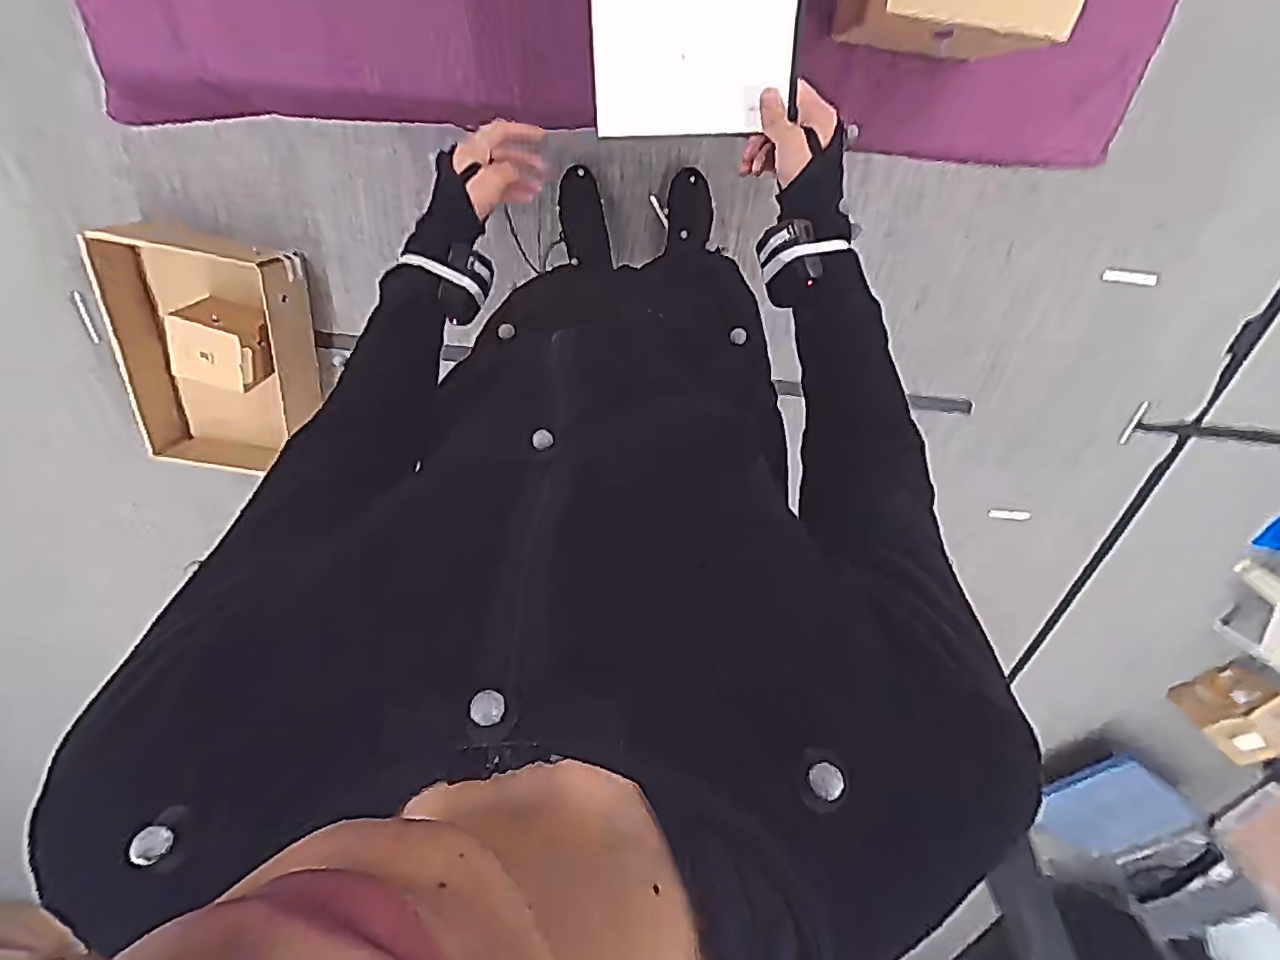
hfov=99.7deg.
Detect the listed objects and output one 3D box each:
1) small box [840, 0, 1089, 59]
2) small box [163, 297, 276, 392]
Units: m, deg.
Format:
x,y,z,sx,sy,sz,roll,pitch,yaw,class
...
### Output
x,y,z,sx,sy,sz,roll,pitch,yaw,class
0.311,-0.512,0.503,0.179,0.176,0.168,6,123,-4,small box
-1.084,-0.359,1.413,0.179,0.176,0.168,16,122,-11,small box
